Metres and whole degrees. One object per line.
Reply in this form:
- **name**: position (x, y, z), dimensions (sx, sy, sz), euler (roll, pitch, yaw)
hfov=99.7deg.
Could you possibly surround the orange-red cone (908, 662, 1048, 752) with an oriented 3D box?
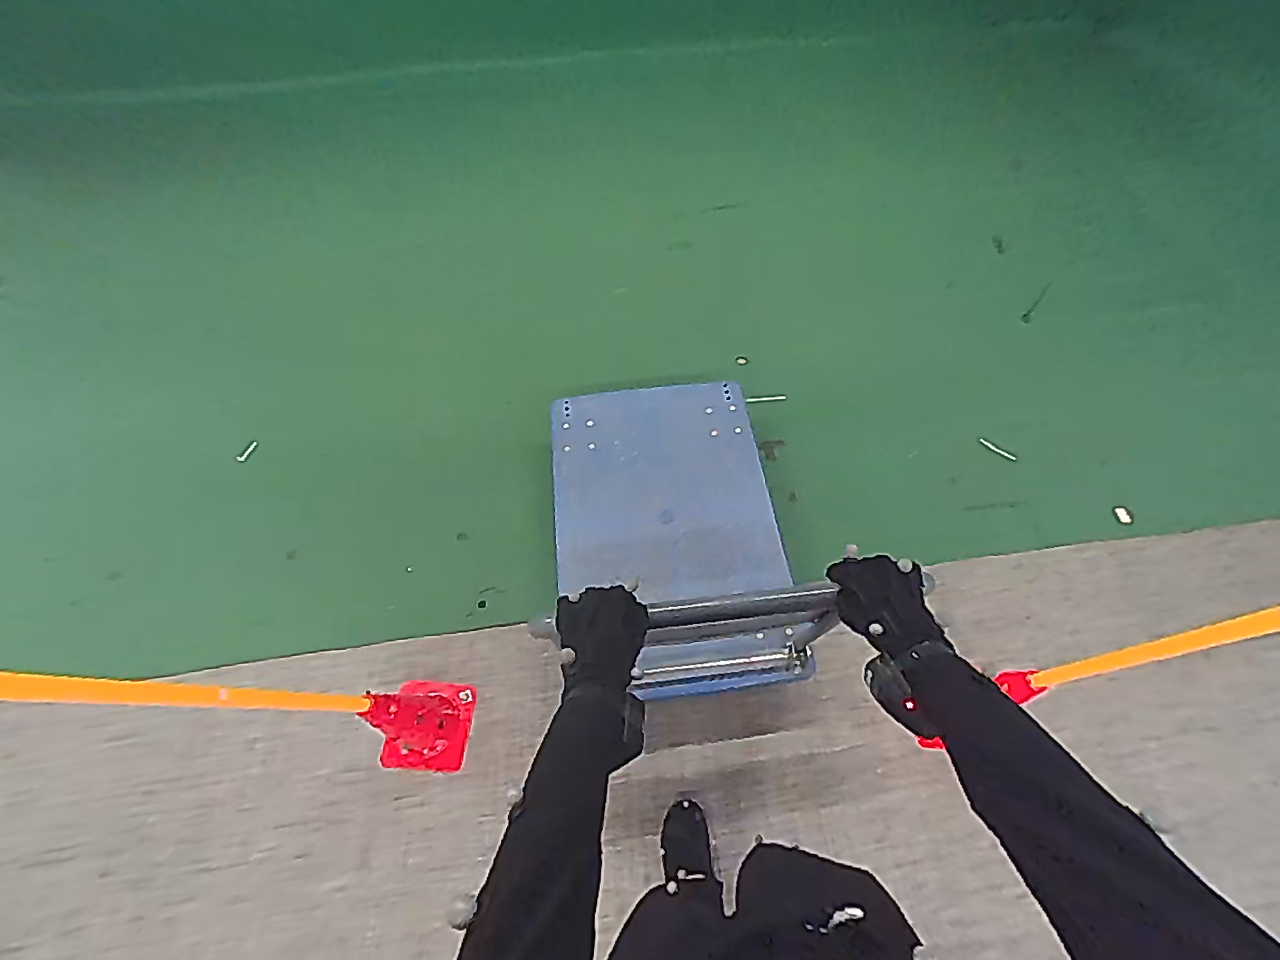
- **orange-red cone**: position (0.767, 0.473, 1.184), dimensions (0.198, 0.360, 0.199), euler (2, 61, 3)
